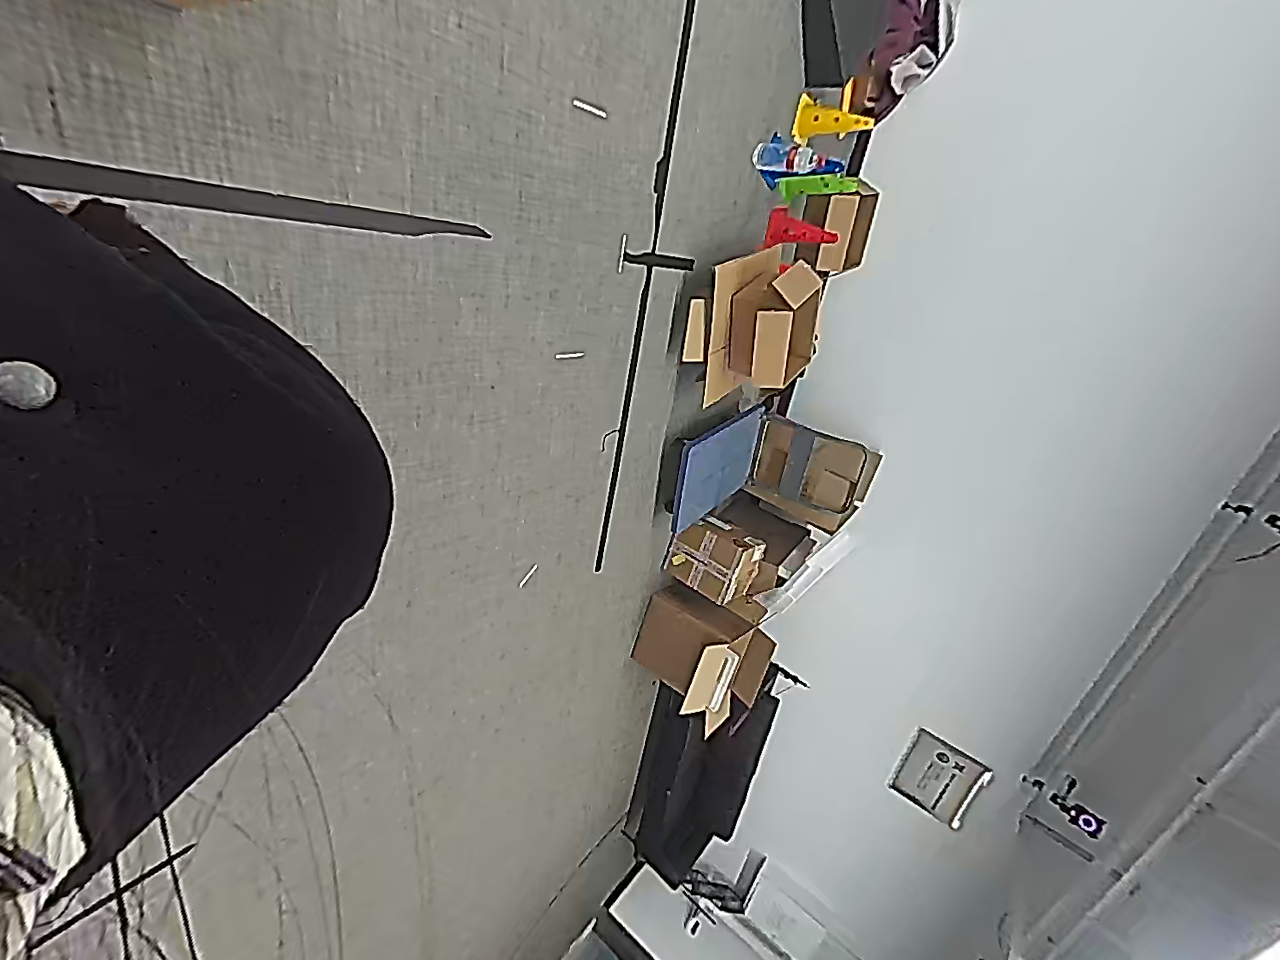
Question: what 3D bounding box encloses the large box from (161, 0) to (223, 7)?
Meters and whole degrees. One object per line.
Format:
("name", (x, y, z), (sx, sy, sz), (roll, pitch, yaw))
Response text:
("large box", (-0.793, -0.886, 0.686), (0.408, 0.320, 0.320), (-19, 129, -52))
